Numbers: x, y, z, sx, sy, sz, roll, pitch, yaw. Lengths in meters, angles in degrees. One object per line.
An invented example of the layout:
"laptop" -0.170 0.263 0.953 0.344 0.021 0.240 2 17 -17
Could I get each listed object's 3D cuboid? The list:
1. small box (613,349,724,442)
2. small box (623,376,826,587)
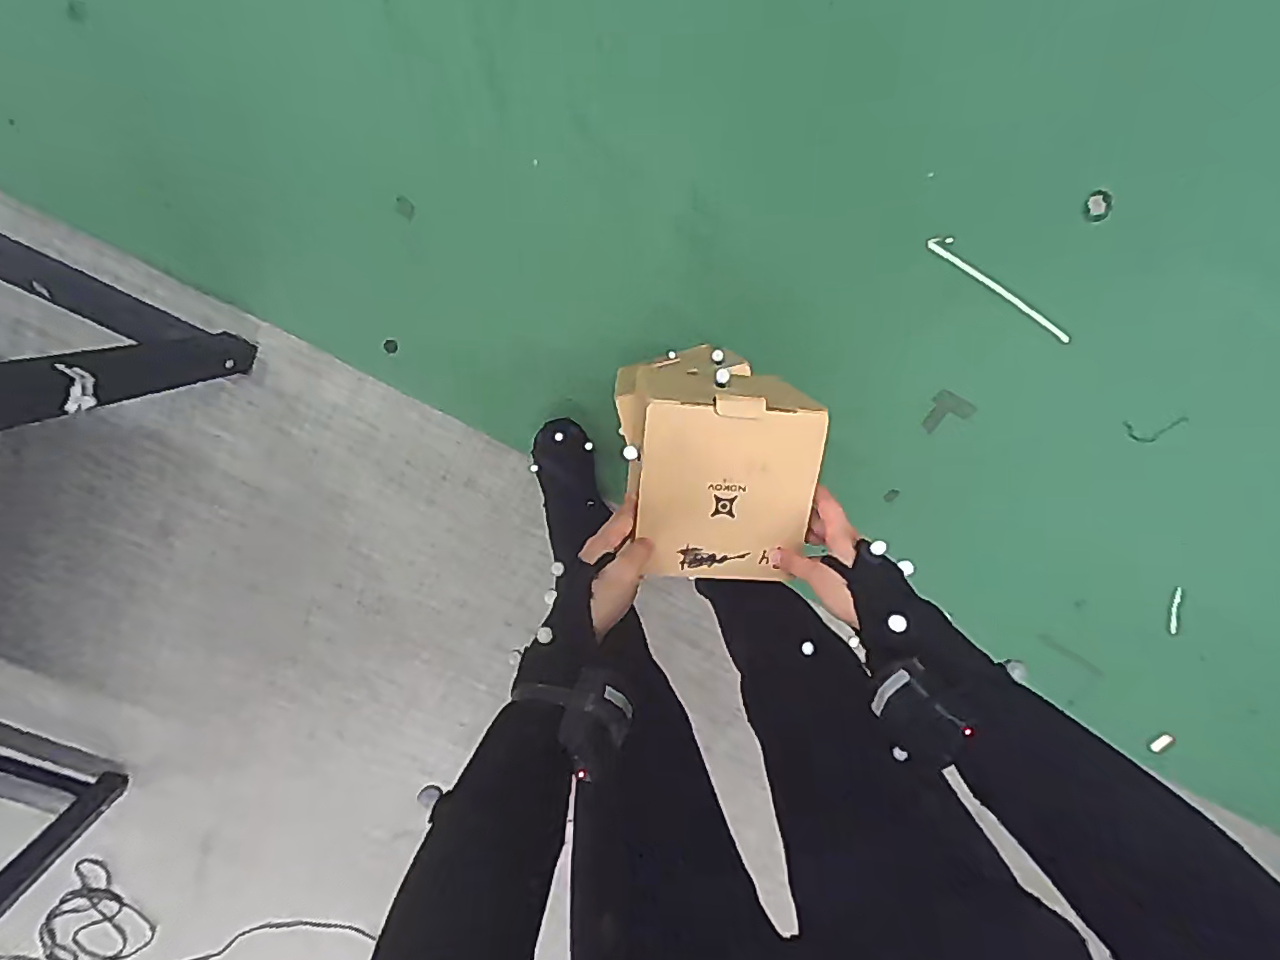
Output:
"small box" 0.059 -0.105 0.894 0.168 0.176 0.179 -14 109 5
"small box" 0.071 -0.008 0.570 0.168 0.176 0.179 3 111 -5
